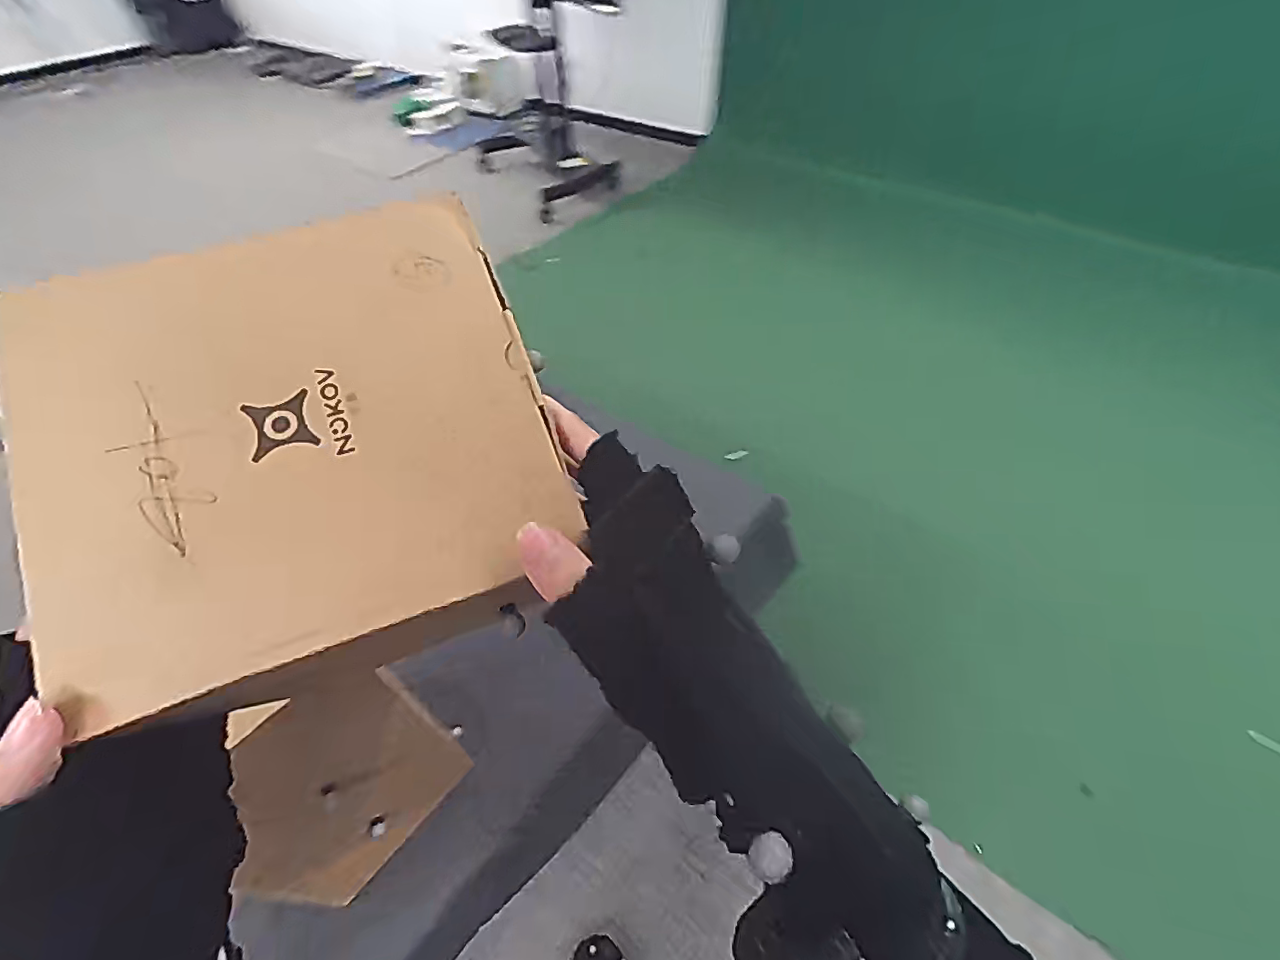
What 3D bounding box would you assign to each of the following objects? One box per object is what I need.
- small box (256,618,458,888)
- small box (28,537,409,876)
[{"bbox_3d":[-0.321,0.292,0.583,0.168,0.176,0.179,32,58,29],"label":"small box"},{"bbox_3d":[-0.325,0.189,0.459,0.168,0.176,0.179,31,57,26],"label":"small box"}]
